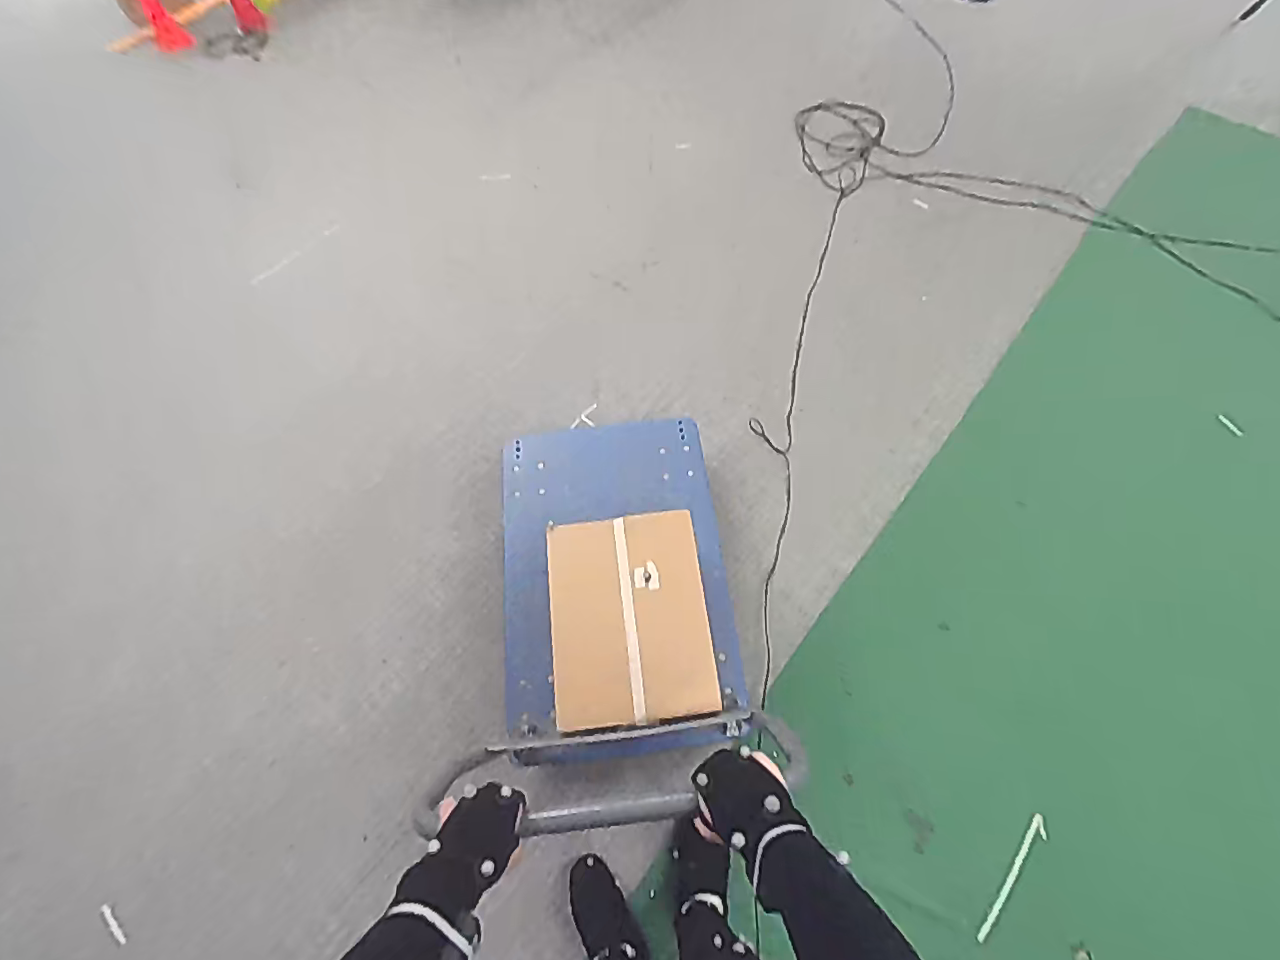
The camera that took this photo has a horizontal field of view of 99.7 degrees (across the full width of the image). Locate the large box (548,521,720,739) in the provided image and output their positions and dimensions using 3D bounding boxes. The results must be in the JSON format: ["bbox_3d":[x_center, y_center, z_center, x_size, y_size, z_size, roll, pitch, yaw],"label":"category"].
[{"bbox_3d":[-0.018,0.349,1.236,0.320,0.320,0.408,-7,65,-2],"label":"large box"}]
